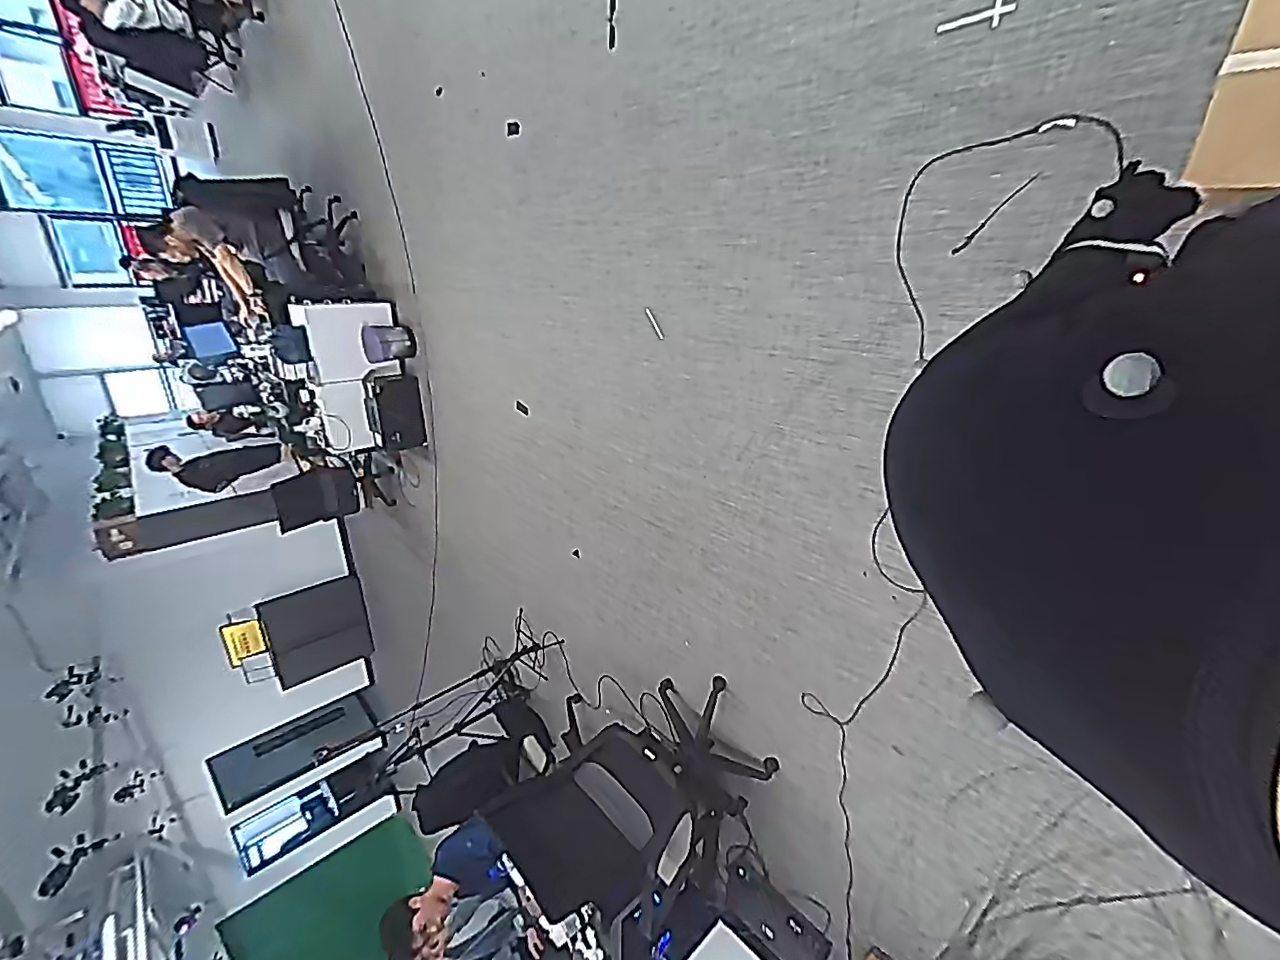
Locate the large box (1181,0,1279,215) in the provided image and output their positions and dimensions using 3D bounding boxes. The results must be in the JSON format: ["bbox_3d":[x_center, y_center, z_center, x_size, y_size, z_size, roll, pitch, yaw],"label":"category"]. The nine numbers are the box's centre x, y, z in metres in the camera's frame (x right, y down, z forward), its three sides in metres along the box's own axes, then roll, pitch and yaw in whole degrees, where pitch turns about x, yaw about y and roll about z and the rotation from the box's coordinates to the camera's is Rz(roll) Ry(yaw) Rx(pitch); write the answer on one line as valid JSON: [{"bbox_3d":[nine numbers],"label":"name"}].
[{"bbox_3d":[1.066,-0.547,0.731,0.408,0.320,0.320,24,121,41],"label":"large box"}]
